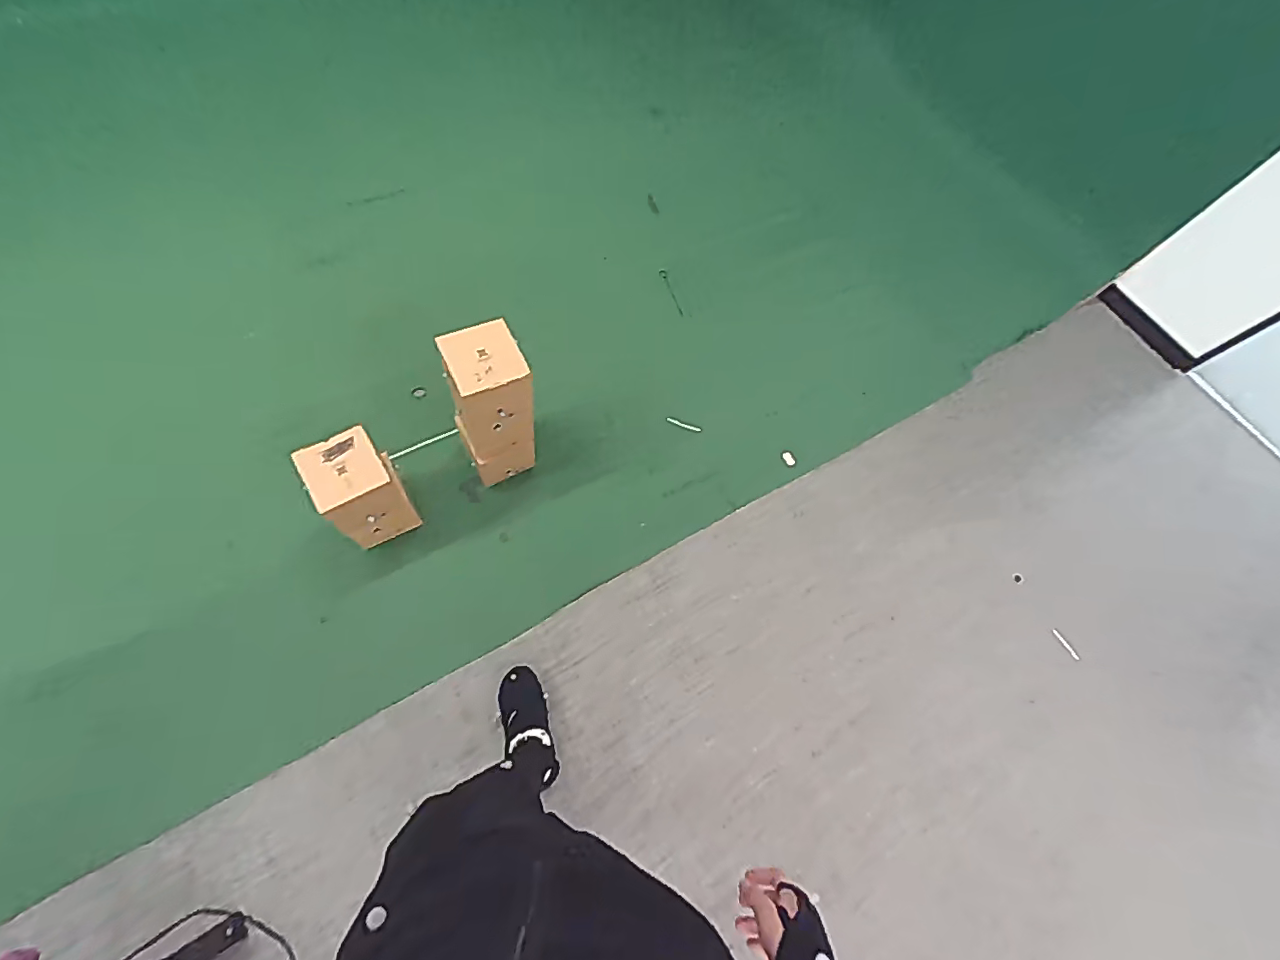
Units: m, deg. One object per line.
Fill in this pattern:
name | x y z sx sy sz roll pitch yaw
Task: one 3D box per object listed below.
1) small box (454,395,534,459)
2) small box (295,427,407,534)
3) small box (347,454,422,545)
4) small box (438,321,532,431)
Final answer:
small box | -0.396 -0.187 1.462 0.168 0.176 0.179 -23 72 -18
small box | -0.701 0.006 1.328 0.168 0.176 0.179 -29 74 -19
small box | -0.721 0.063 1.481 0.168 0.176 0.179 -26 72 -18
small box | -0.370 -0.249 1.311 0.168 0.176 0.179 -23 73 -18
